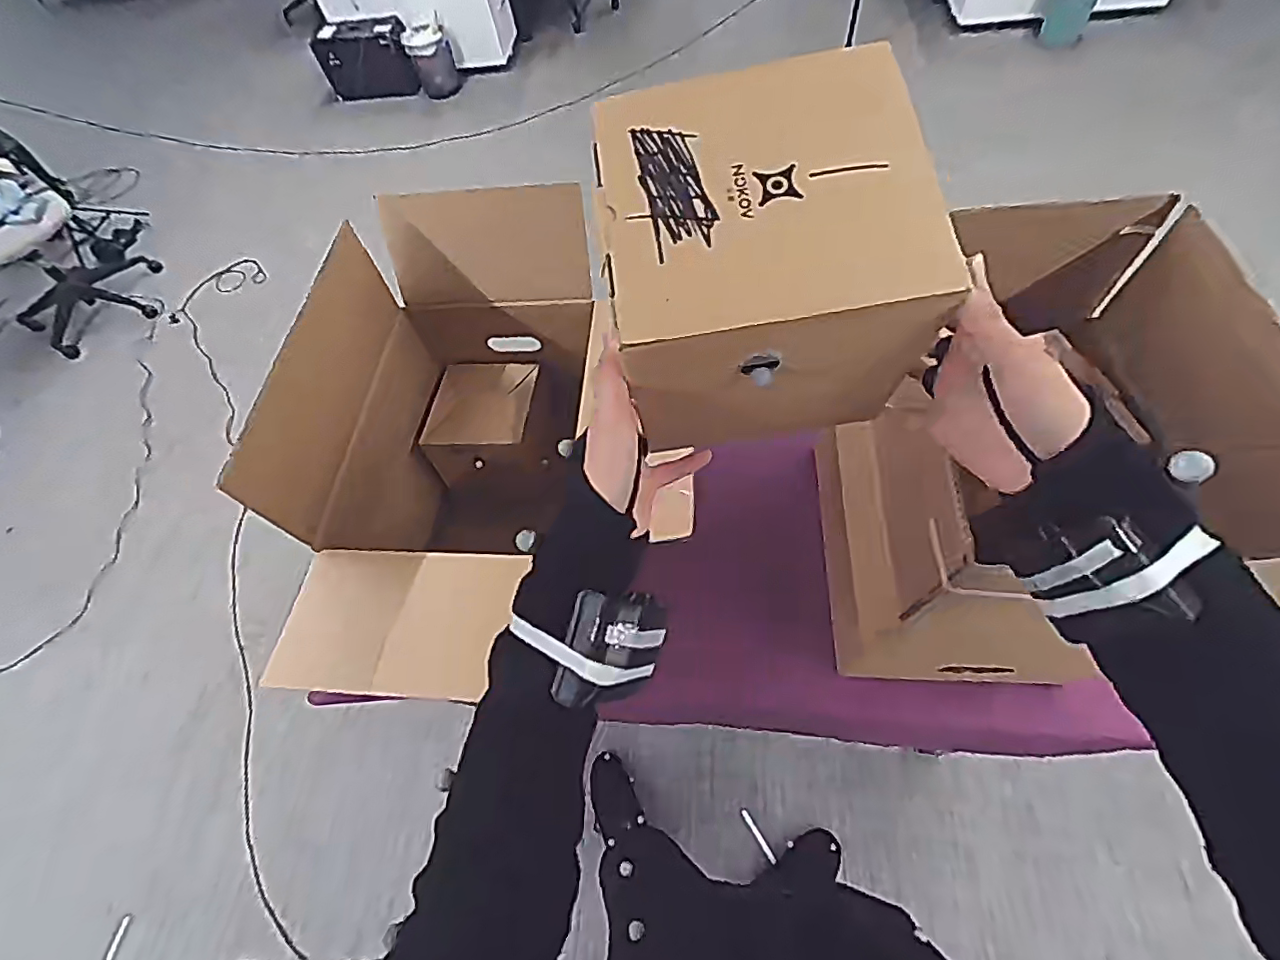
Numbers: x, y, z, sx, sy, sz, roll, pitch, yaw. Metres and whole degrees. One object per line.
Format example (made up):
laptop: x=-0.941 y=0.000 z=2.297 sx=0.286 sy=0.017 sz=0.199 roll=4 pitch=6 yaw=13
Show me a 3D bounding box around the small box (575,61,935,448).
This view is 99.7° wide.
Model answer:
small box: x=0.065 y=-0.132 z=0.376 sx=0.179 sy=0.176 sz=0.168 roll=-9 pitch=73 yaw=5
